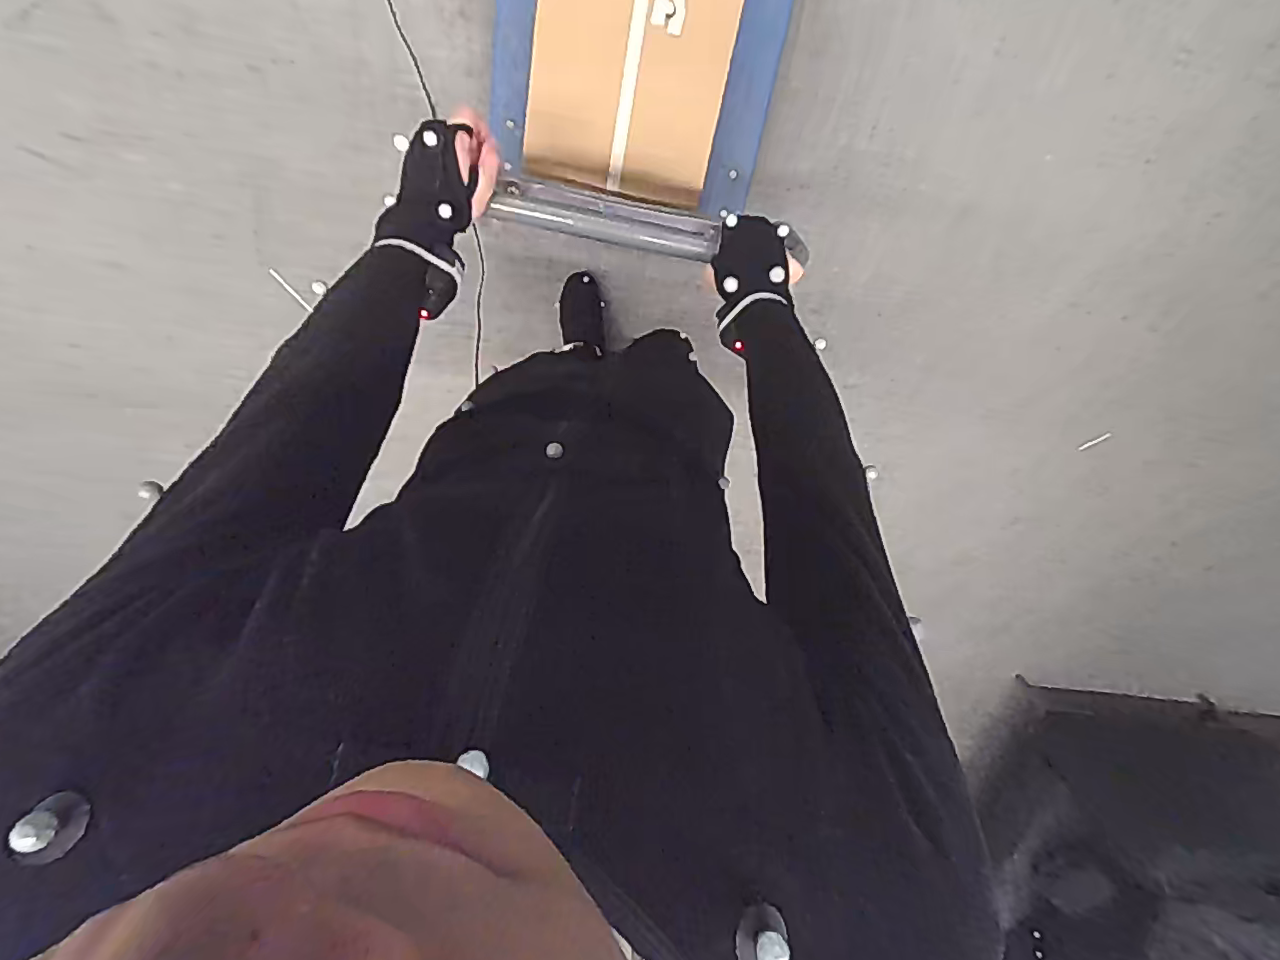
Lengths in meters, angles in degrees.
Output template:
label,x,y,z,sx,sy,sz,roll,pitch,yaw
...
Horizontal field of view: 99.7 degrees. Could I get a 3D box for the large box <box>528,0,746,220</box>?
label,x,y,z,sx,sy,sz,roll,pitch,yaw
large box,-0.010,-0.728,0.999,0.320,0.320,0.408,9,114,-6
